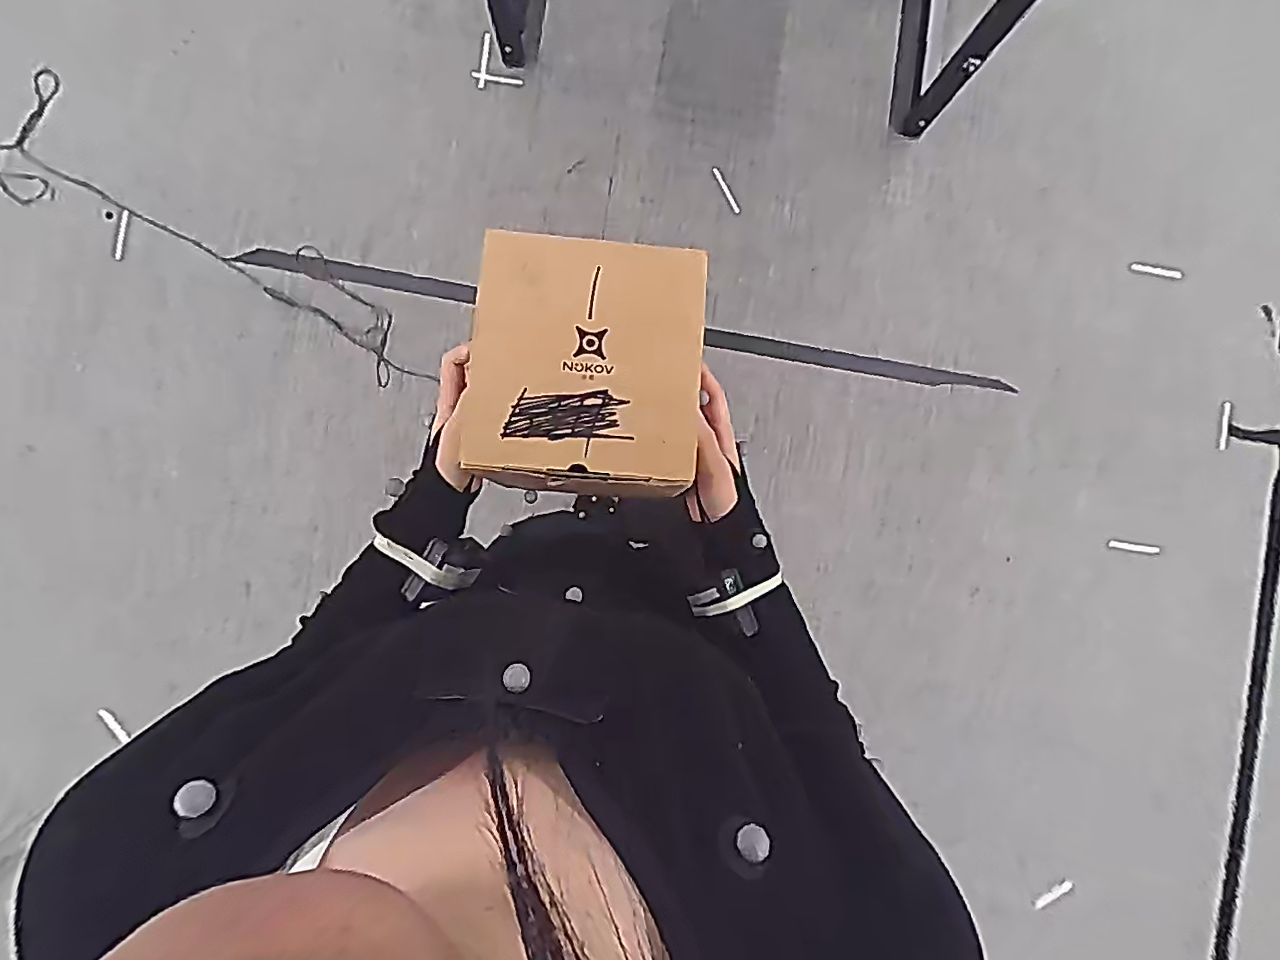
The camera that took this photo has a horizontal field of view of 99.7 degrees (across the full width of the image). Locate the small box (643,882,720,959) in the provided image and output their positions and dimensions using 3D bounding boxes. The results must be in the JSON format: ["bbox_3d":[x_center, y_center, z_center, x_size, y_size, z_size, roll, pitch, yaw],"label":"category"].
[{"bbox_3d":[0.105,1.192,1.413,0.179,0.176,0.168,-4,89,-4],"label":"small box"}]

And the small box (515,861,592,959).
[{"bbox_3d":[-0.219,1.137,1.395,0.168,0.176,0.179,11,89,-3],"label":"small box"}]

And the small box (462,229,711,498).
[{"bbox_3d":[-0.040,-0.080,0.463,0.168,0.176,0.179,5,83,-3],"label":"small box"}]
